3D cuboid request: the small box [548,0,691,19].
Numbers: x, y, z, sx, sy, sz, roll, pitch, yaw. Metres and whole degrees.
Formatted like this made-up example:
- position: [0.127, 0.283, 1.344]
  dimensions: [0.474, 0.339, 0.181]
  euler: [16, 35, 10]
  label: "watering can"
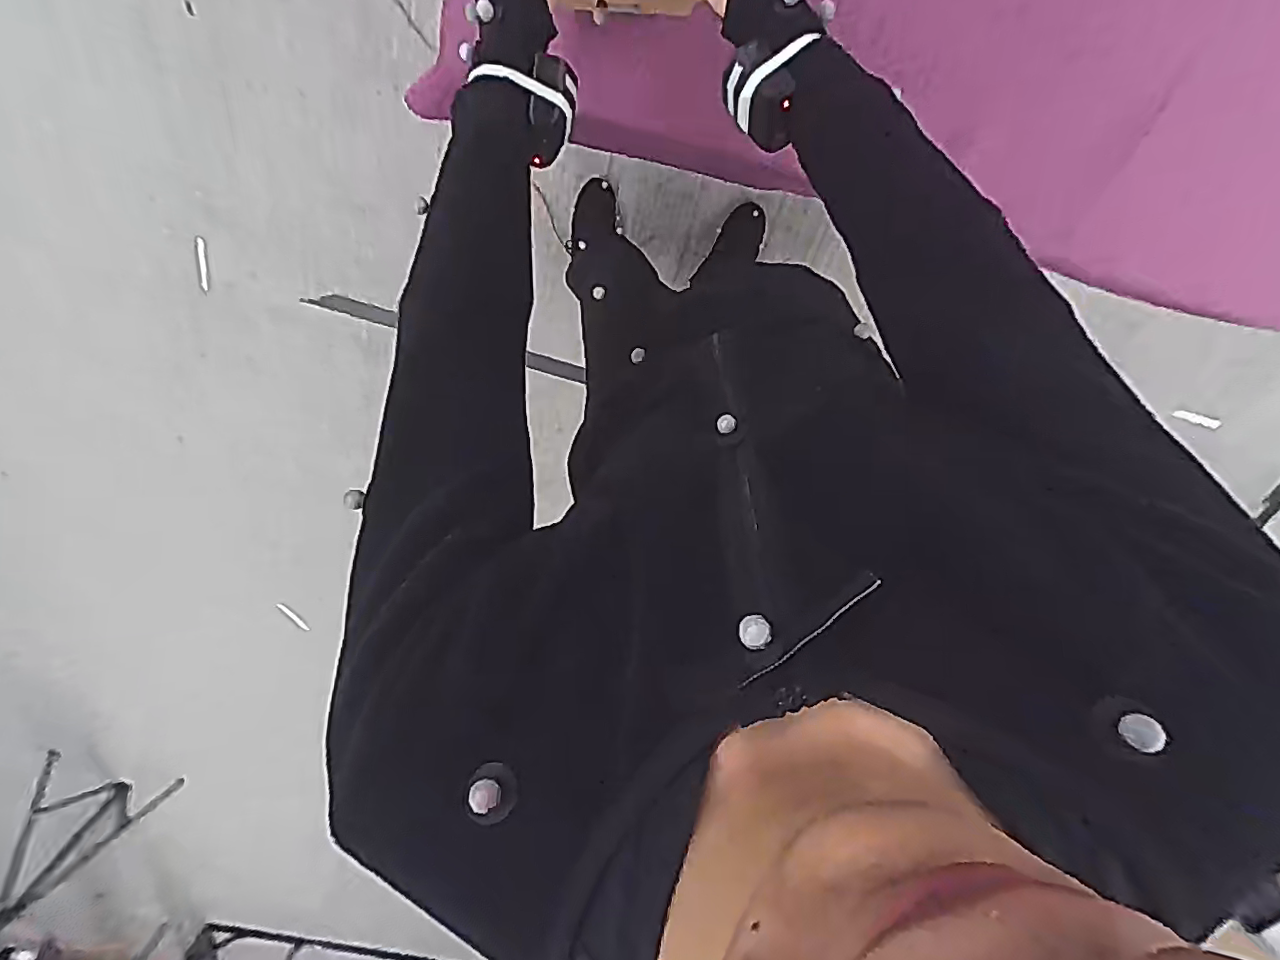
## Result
- position: [-0.021, -0.558, 0.493]
  dimensions: [0.168, 0.176, 0.179]
  euler: [0, 120, -4]
  label: "small box"
